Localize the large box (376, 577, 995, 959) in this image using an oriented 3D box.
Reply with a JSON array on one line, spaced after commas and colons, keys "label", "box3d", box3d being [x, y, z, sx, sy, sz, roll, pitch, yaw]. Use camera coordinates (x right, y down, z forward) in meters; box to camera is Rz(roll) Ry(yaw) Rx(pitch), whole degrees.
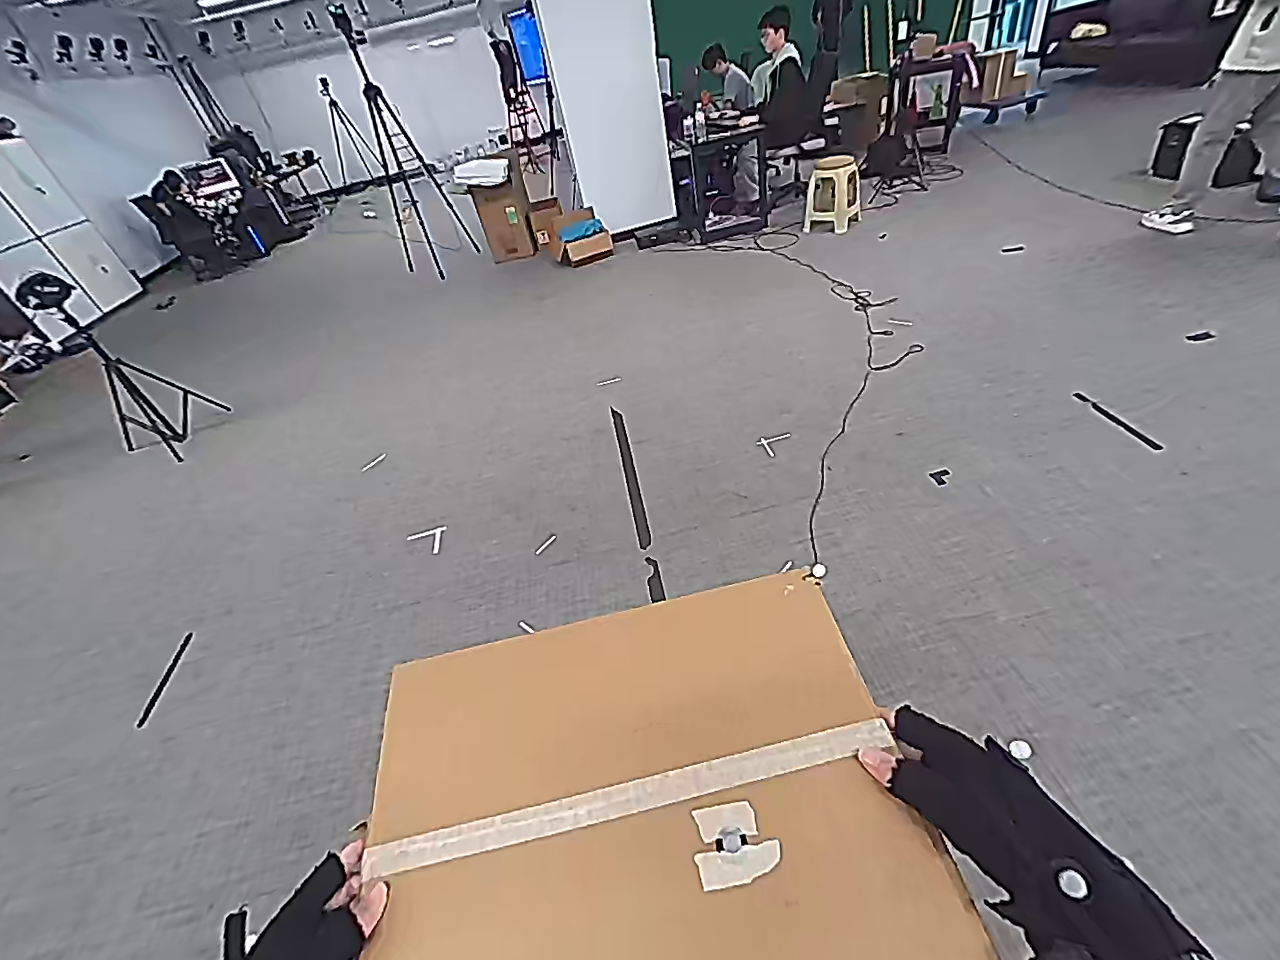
[{"label": "large box", "box3d": [0.018, 0.348, 0.525, 0.408, 0.320, 0.320, -13, 47, -2]}]
